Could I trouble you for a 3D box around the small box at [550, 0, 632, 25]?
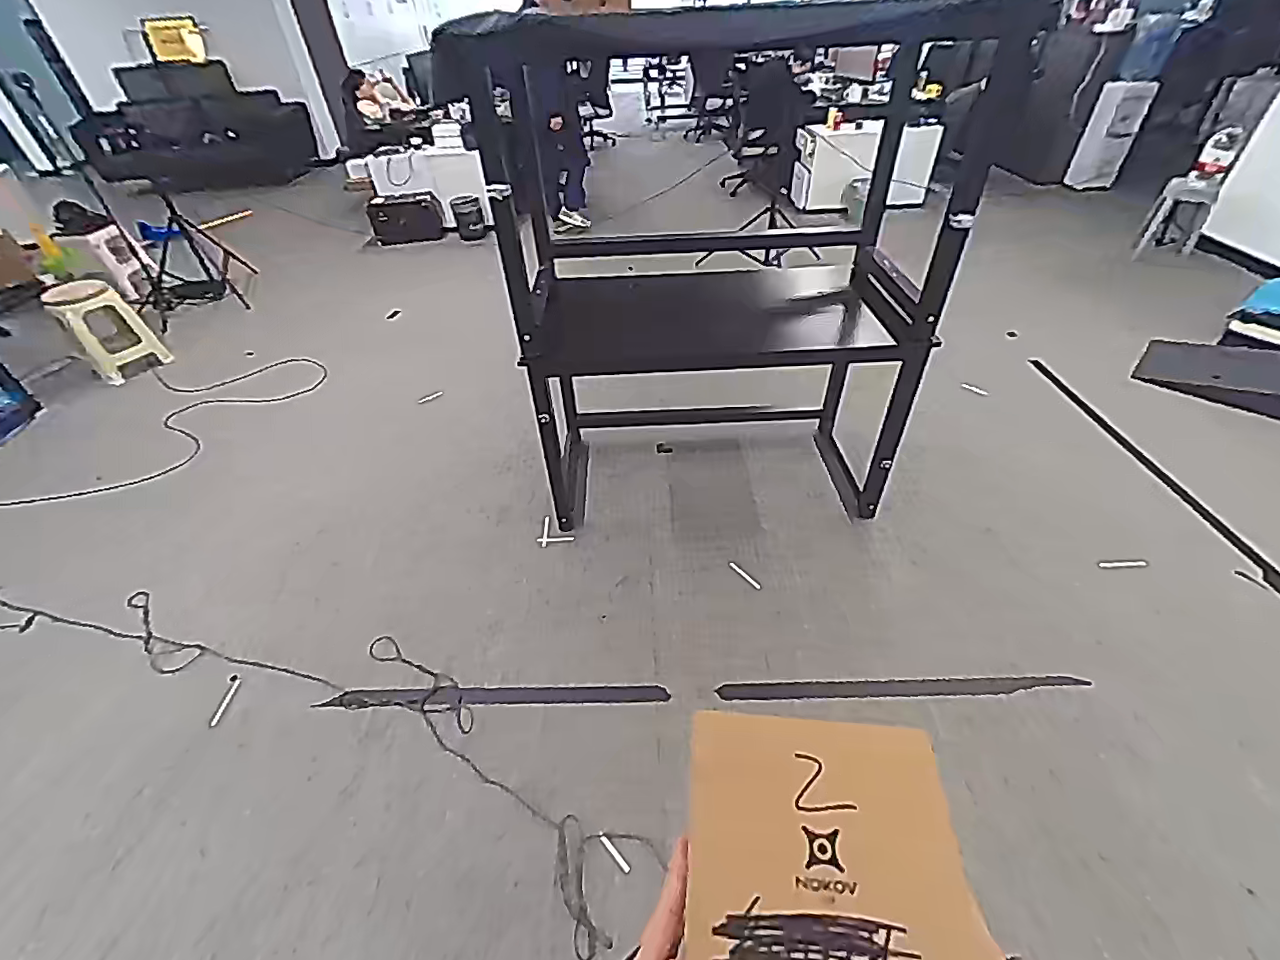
[{"bbox_3d":[-0.103,-1.039,1.095,0.168,0.176,0.179,-3,40,-2],"label":"small box"}]
